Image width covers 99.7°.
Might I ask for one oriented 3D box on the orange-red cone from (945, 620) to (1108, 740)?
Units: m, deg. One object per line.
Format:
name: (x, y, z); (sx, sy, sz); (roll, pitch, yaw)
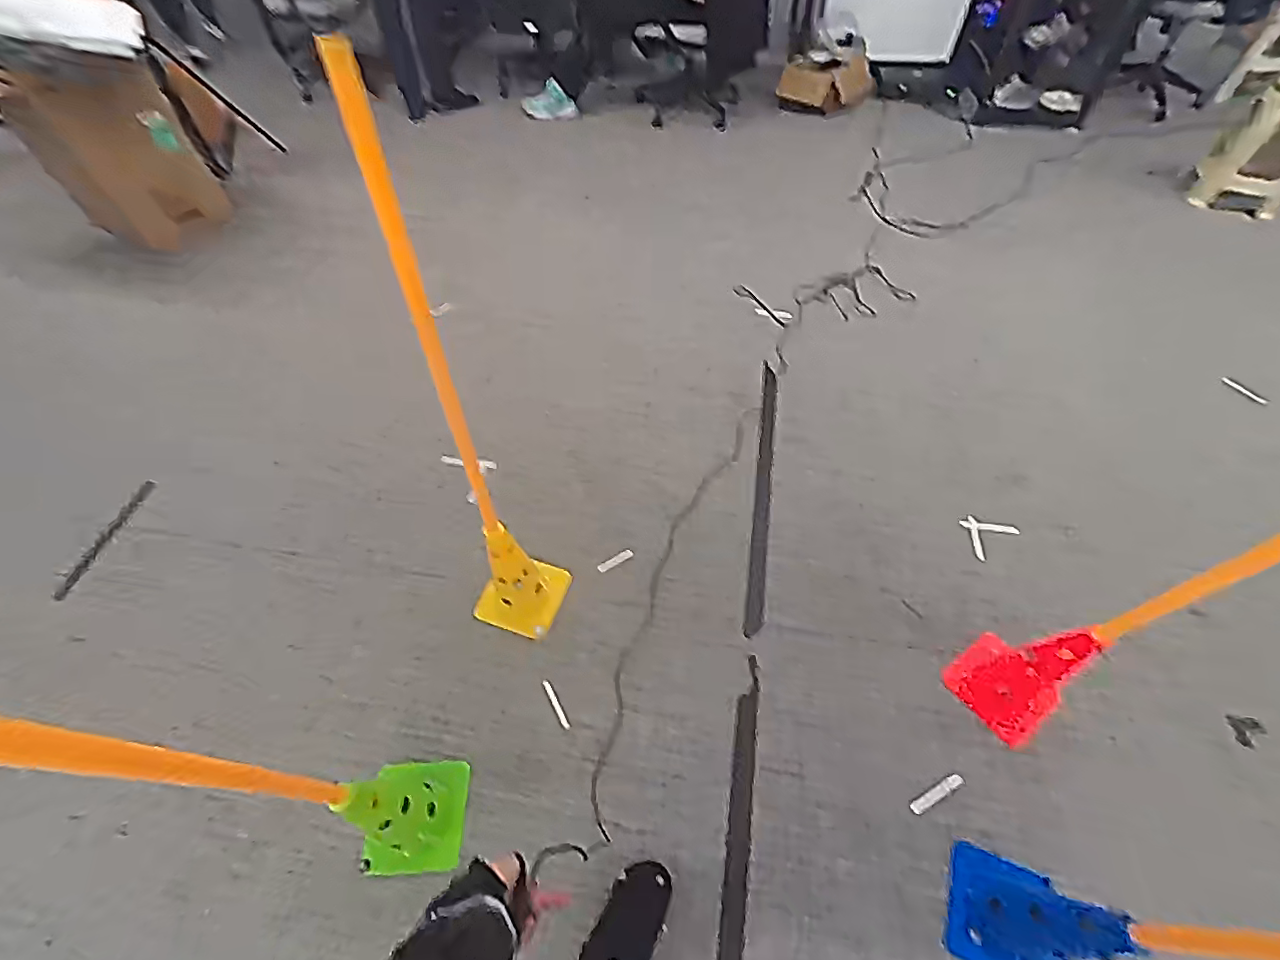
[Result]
orange-red cone: (0.848, 0.379, 1.136); (0.199, 0.360, 0.198); (-30, 59, -18)

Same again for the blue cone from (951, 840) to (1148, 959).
blue cone: (0.696, 0.726, 0.904); (0.193, 0.380, 0.192); (20, 56, 15)

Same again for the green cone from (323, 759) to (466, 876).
green cone: (-0.475, 0.596, 0.993); (0.200, 0.368, 0.202); (-3, 53, -2)
